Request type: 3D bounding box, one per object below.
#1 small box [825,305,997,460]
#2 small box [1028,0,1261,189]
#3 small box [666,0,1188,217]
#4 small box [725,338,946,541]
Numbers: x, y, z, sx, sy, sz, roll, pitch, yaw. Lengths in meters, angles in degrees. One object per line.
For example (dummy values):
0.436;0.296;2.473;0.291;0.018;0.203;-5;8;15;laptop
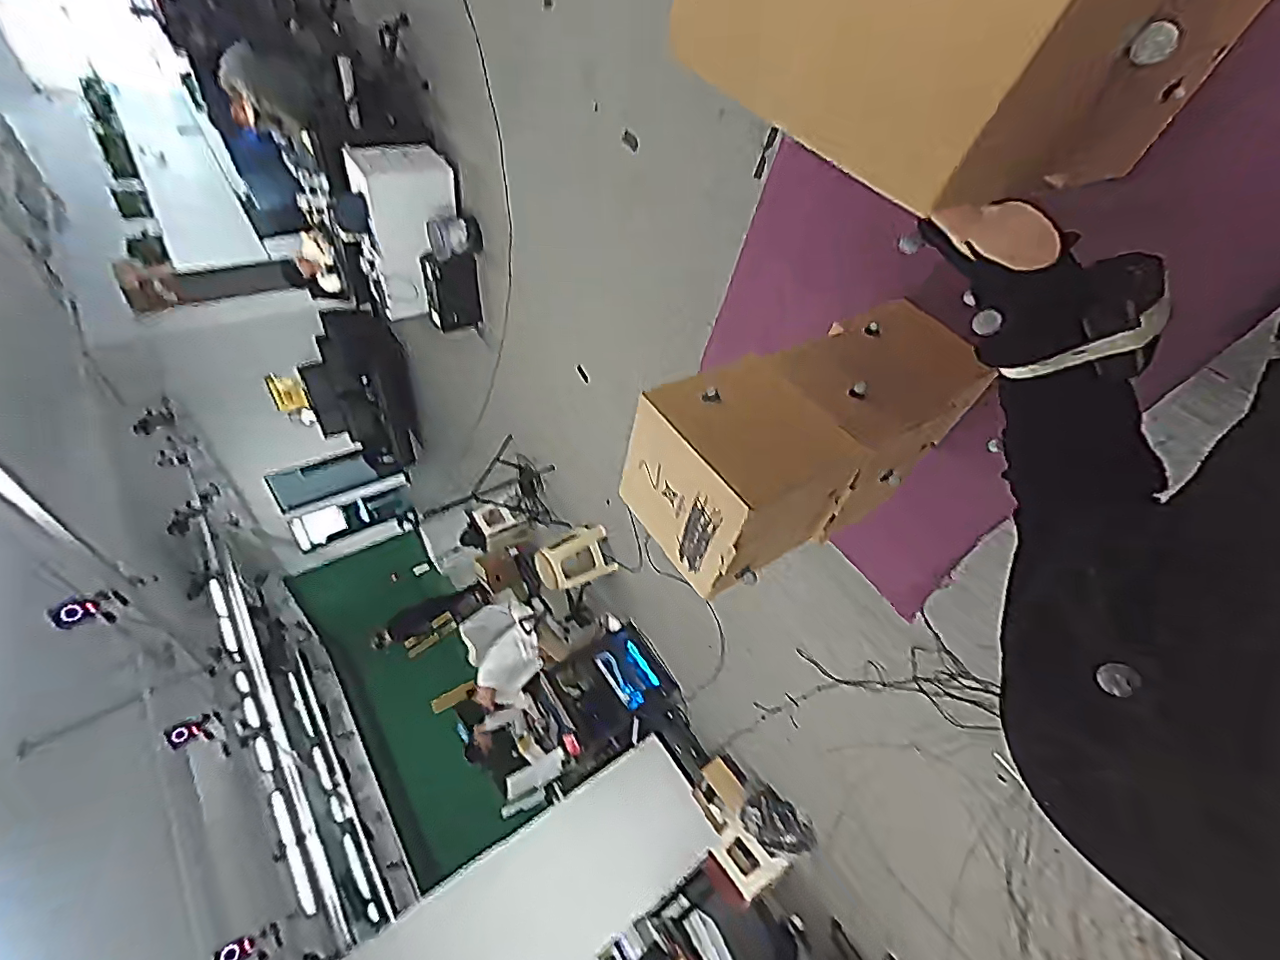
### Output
0.361;-0.130;0.781;0.179;0.176;0.168;51;147;27;small box
0.407;-0.401;0.503;0.179;0.176;0.168;51;147;26;small box
0.148;-0.252;0.252;0.179;0.176;0.168;46;142;18;small box
0.243;-0.060;0.689;0.179;0.176;0.168;47;145;30;small box
